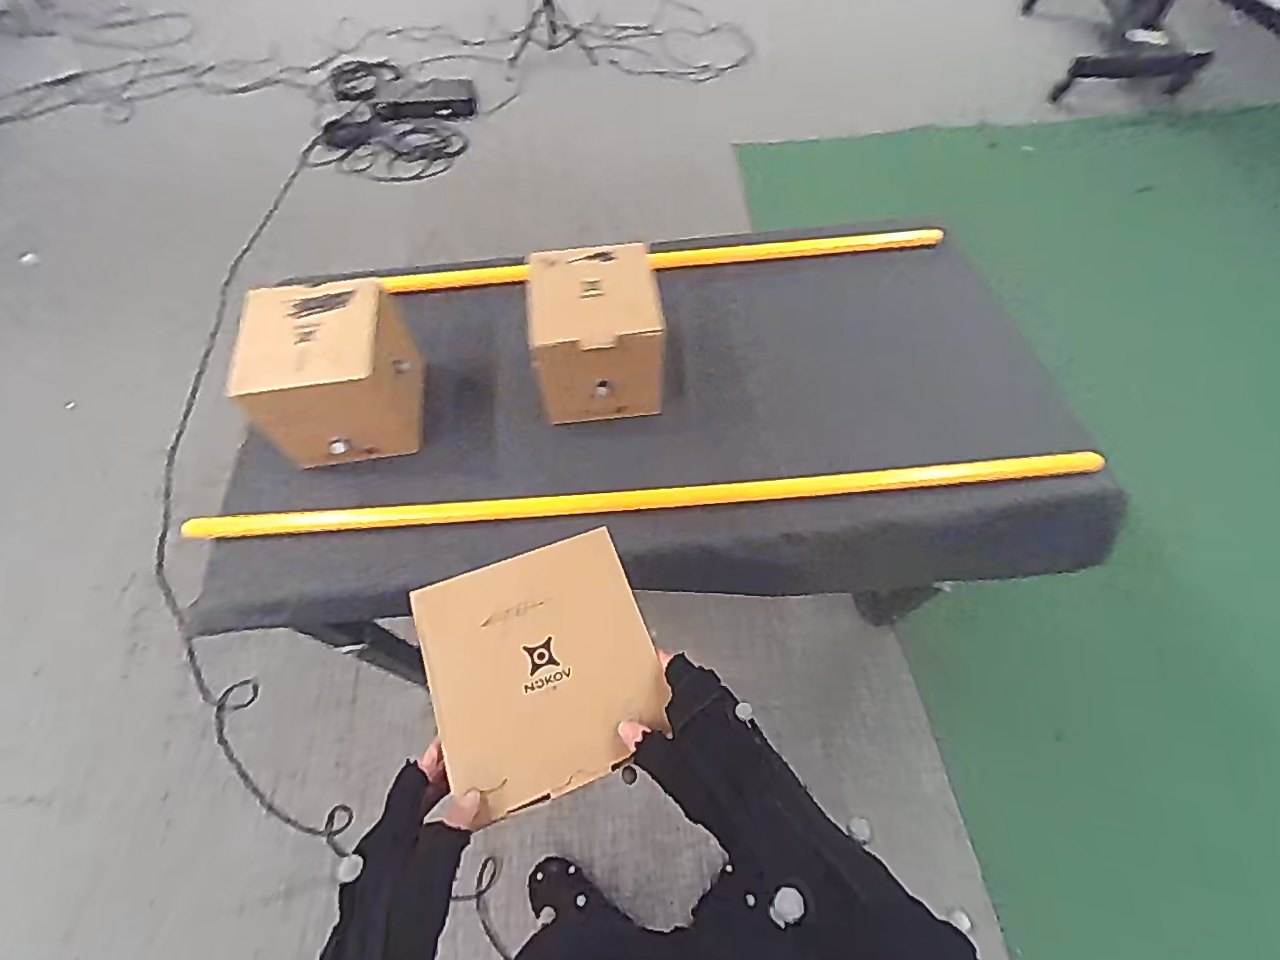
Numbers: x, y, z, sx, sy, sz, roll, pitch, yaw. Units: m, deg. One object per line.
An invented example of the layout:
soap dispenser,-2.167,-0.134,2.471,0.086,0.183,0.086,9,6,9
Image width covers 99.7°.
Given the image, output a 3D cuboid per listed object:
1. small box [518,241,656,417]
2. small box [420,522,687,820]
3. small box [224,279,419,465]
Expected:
small box,-0.072,-0.207,0.779,0.168,0.176,0.179,-10,60,-3
small box,-0.074,0.167,0.479,0.168,0.176,0.179,-17,64,-14
small box,-0.417,-0.144,0.744,0.168,0.176,0.179,-9,61,-4
